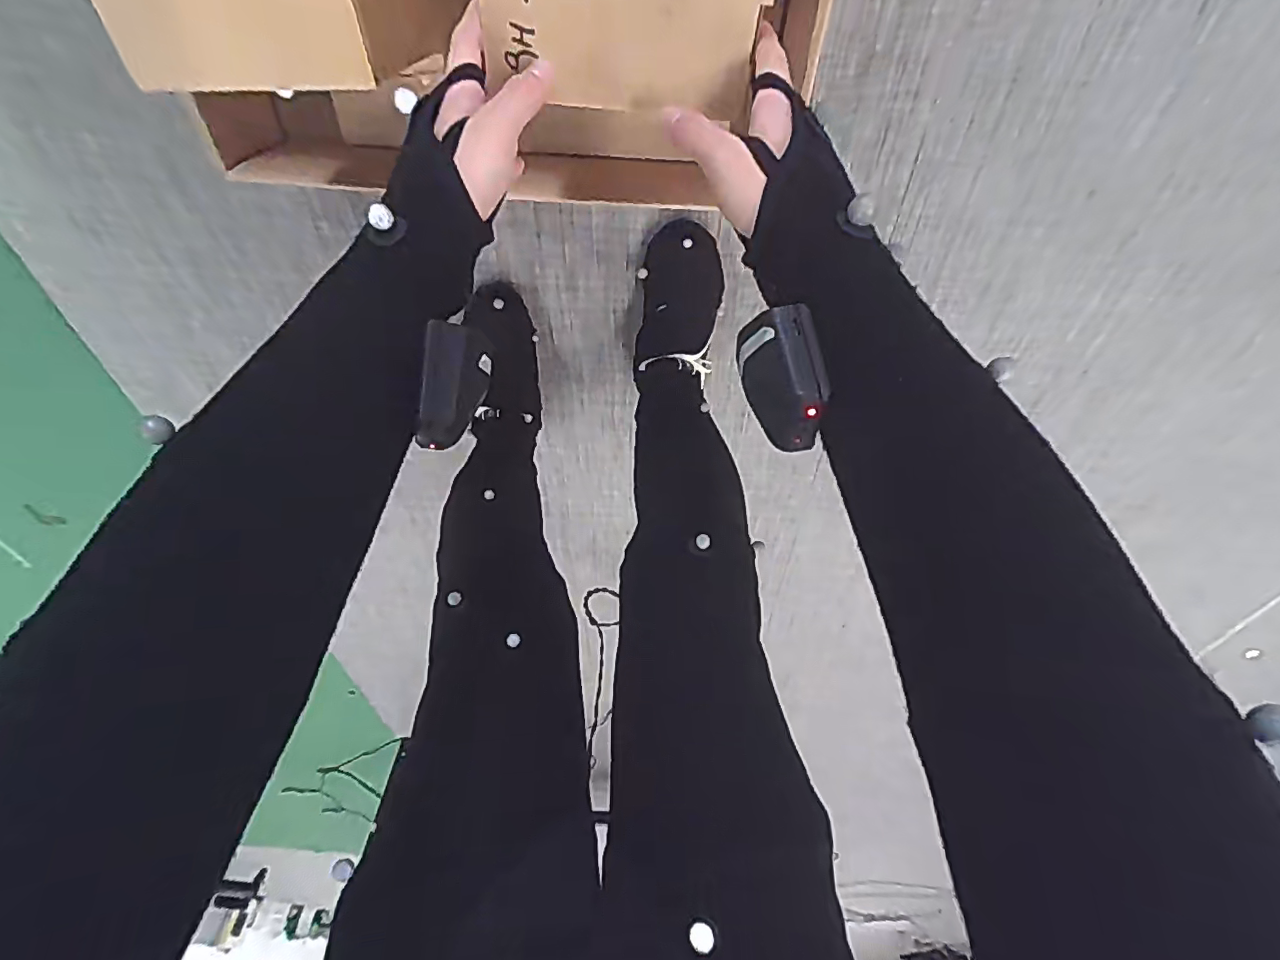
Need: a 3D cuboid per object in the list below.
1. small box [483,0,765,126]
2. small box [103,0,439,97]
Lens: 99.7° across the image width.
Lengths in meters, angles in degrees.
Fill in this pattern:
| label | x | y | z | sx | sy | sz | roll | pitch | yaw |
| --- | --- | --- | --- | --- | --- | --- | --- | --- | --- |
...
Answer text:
| label | x | y | z | sx | sy | sz | roll | pitch | yaw |
| --- | --- | --- | --- | --- | --- | --- | --- | --- | --- |
| small box | -0.005 | -0.365 | 0.372 | 0.179 | 0.176 | 0.168 | 6 | 133 | 0 |
| small box | -0.258 | -0.387 | 0.376 | 0.168 | 0.176 | 0.179 | 0 | 133 | 1 |
